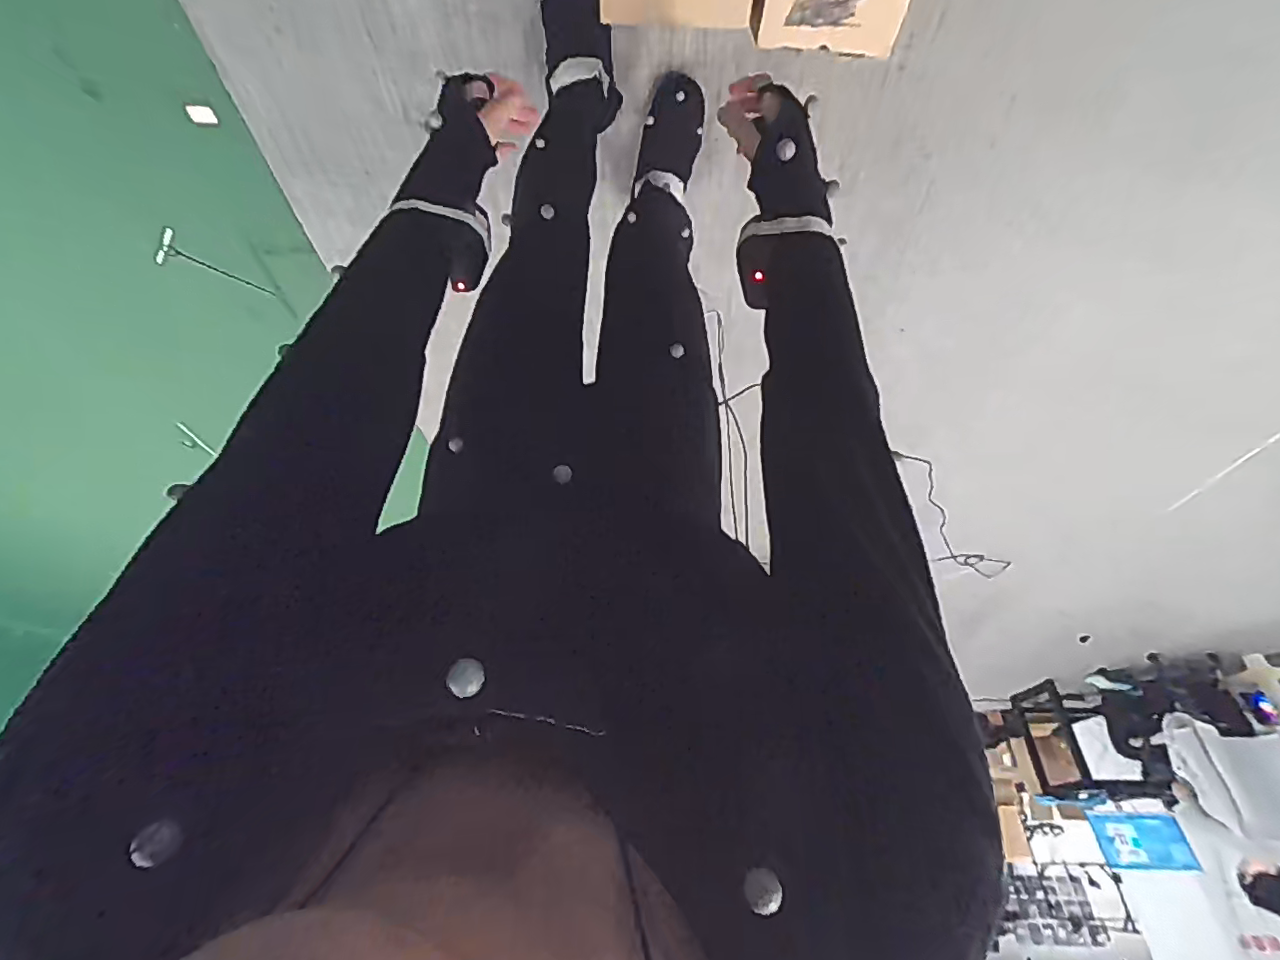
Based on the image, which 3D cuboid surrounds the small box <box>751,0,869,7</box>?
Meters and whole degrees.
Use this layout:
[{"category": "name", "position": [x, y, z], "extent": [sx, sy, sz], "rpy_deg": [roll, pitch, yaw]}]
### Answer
[{"category": "small box", "position": [0.231, -0.765, 0.713], "extent": [0.168, 0.176, 0.179], "rpy_deg": [0, 148, 1]}]
